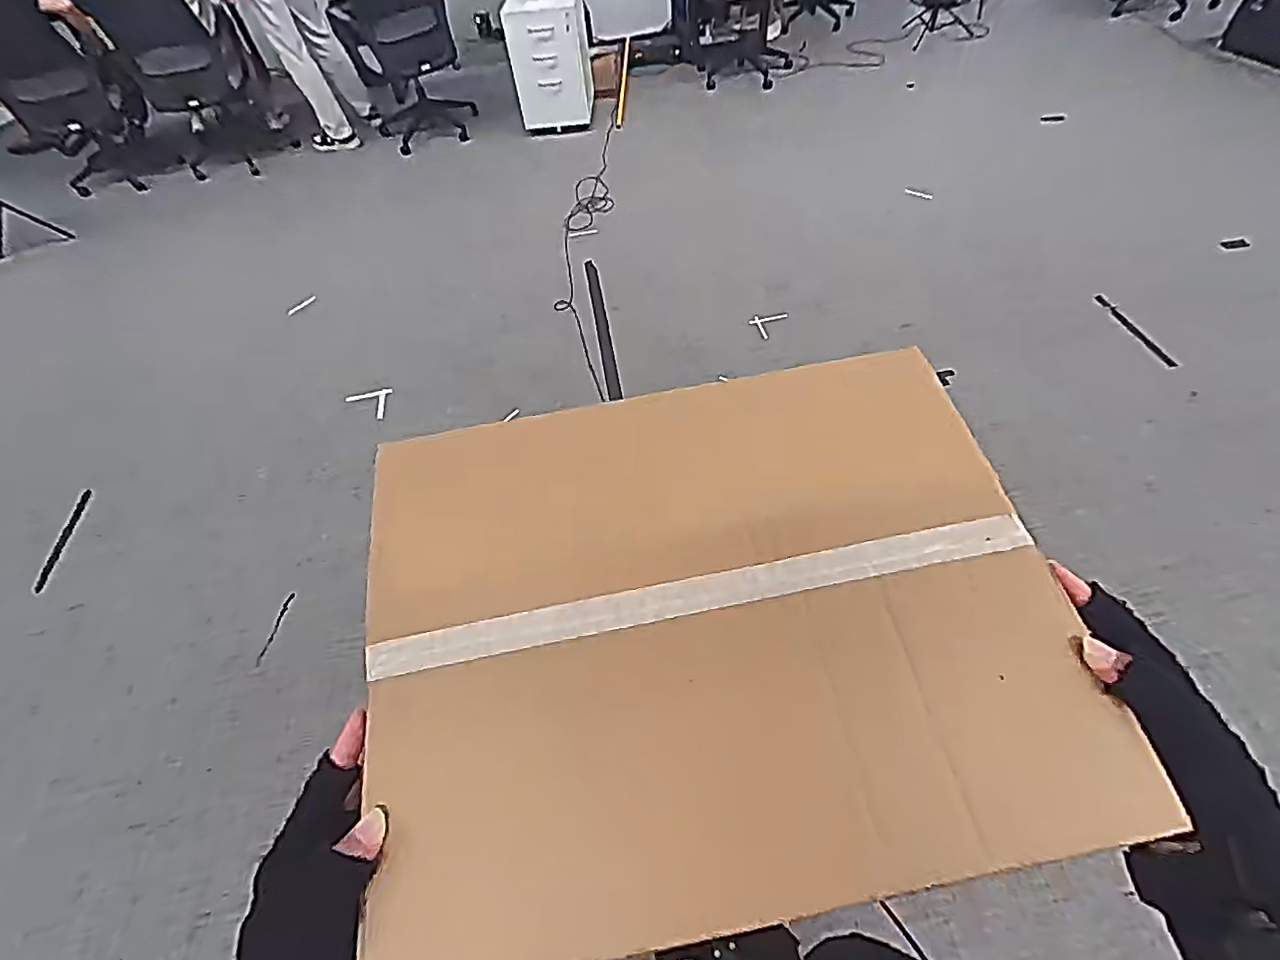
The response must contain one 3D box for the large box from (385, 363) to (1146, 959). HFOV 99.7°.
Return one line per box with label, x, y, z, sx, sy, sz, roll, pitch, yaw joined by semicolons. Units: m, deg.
large box;0.048;0.149;0.470;0.408;0.320;0.320;-11;62;-2
